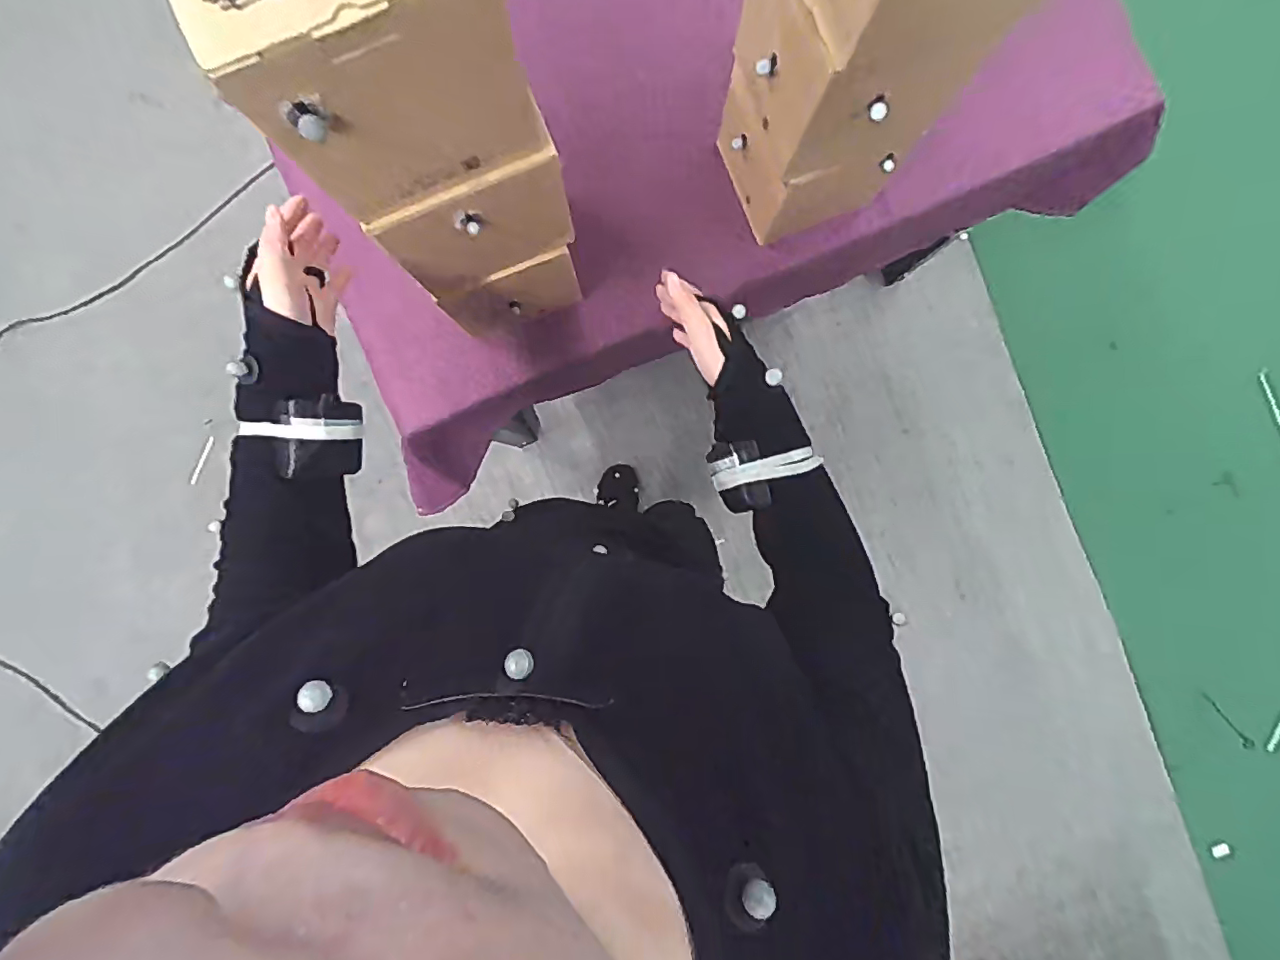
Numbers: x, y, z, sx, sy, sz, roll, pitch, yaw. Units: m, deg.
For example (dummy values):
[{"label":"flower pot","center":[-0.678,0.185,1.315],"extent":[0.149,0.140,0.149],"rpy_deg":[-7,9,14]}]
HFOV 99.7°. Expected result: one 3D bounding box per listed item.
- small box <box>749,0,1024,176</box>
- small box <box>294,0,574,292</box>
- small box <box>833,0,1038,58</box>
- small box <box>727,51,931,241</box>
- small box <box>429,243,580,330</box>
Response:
[{"label":"small box","center":[0.217,-0.437,0.529],"extent":[0.179,0.176,0.168],"rpy_deg":[-18,91,0]},{"label":"small box","center":[-0.178,-0.308,0.526],"extent":[0.179,0.176,0.168],"rpy_deg":[-22,91,-1]},{"label":"small box","center":[0.228,-0.438,0.365],"extent":[0.179,0.176,0.168],"rpy_deg":[-18,90,-2]},{"label":"small box","center":[0.222,-0.439,0.694],"extent":[0.179,0.176,0.168],"rpy_deg":[-22,90,-1]},{"label":"small box","center":[-0.184,-0.306,0.689],"extent":[0.168,0.176,0.179],"rpy_deg":[-21,90,-1]}]
